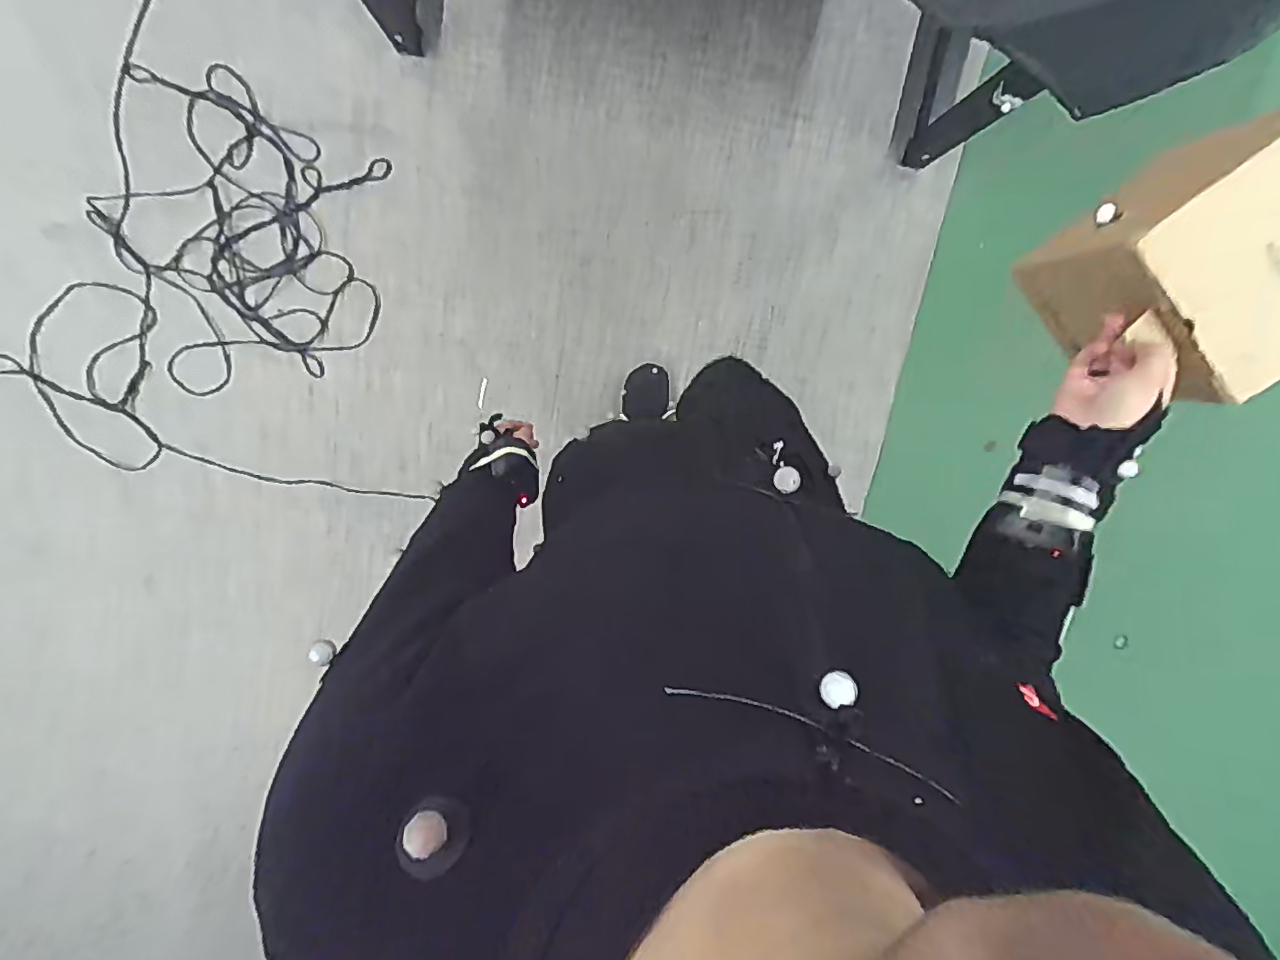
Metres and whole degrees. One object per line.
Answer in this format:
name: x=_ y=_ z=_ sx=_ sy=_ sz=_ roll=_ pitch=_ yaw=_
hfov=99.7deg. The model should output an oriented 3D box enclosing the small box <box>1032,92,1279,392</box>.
small box: x=0.496 y=-0.200 z=0.476 sx=0.179 sy=0.176 sz=0.168 roll=-40 pitch=99 yaw=12
